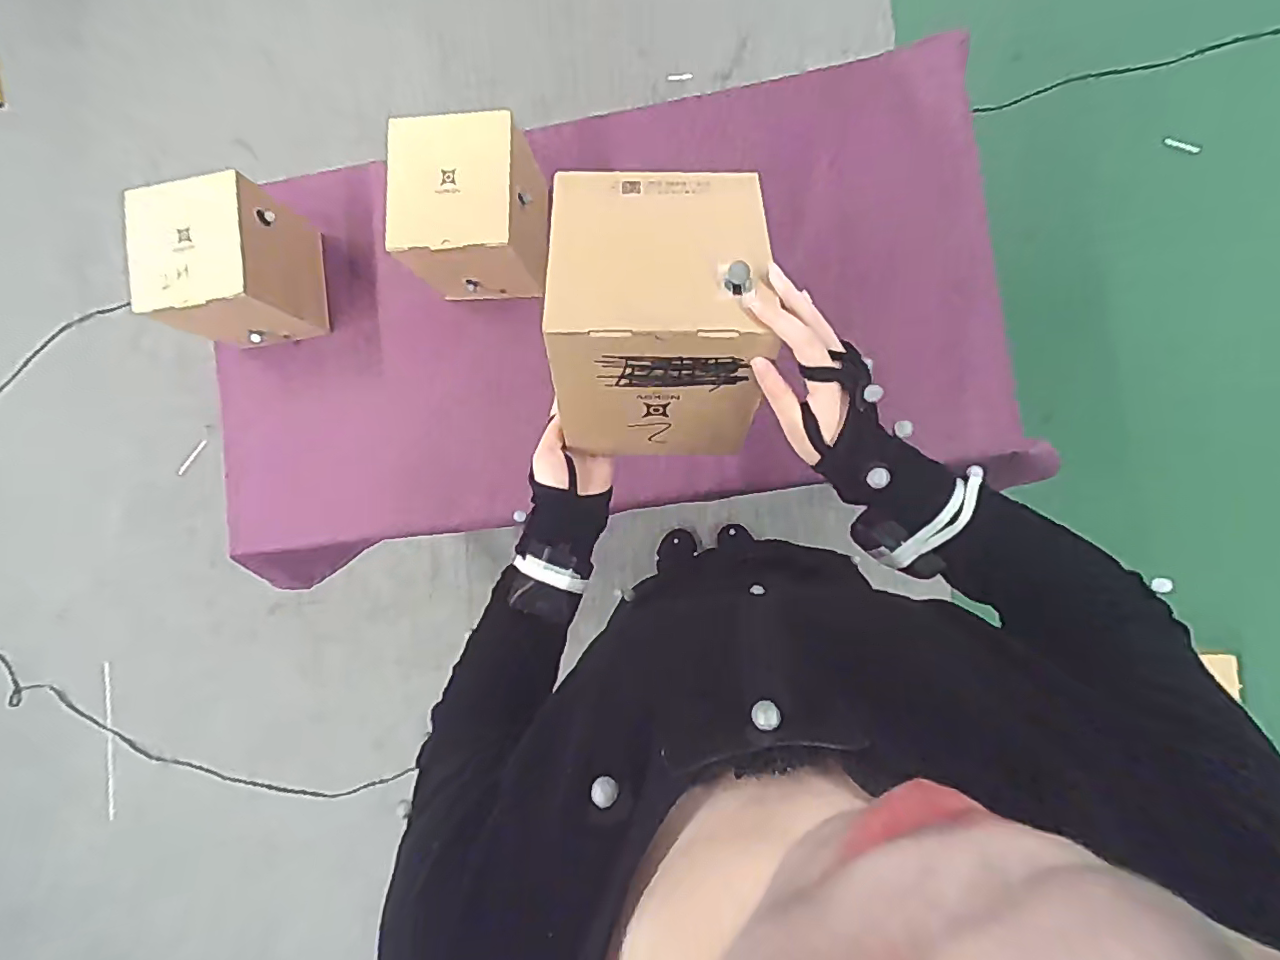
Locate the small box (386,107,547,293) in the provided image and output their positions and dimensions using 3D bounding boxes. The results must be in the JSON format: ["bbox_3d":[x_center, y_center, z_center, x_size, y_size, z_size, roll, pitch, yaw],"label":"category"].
[{"bbox_3d":[-0.235,-0.383,0.766,0.168,0.176,0.179,0,89,7],"label":"small box"}]

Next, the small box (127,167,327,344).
[{"bbox_3d":[-0.597,-0.319,0.800,0.168,0.176,0.179,-7,87,6],"label":"small box"}]
